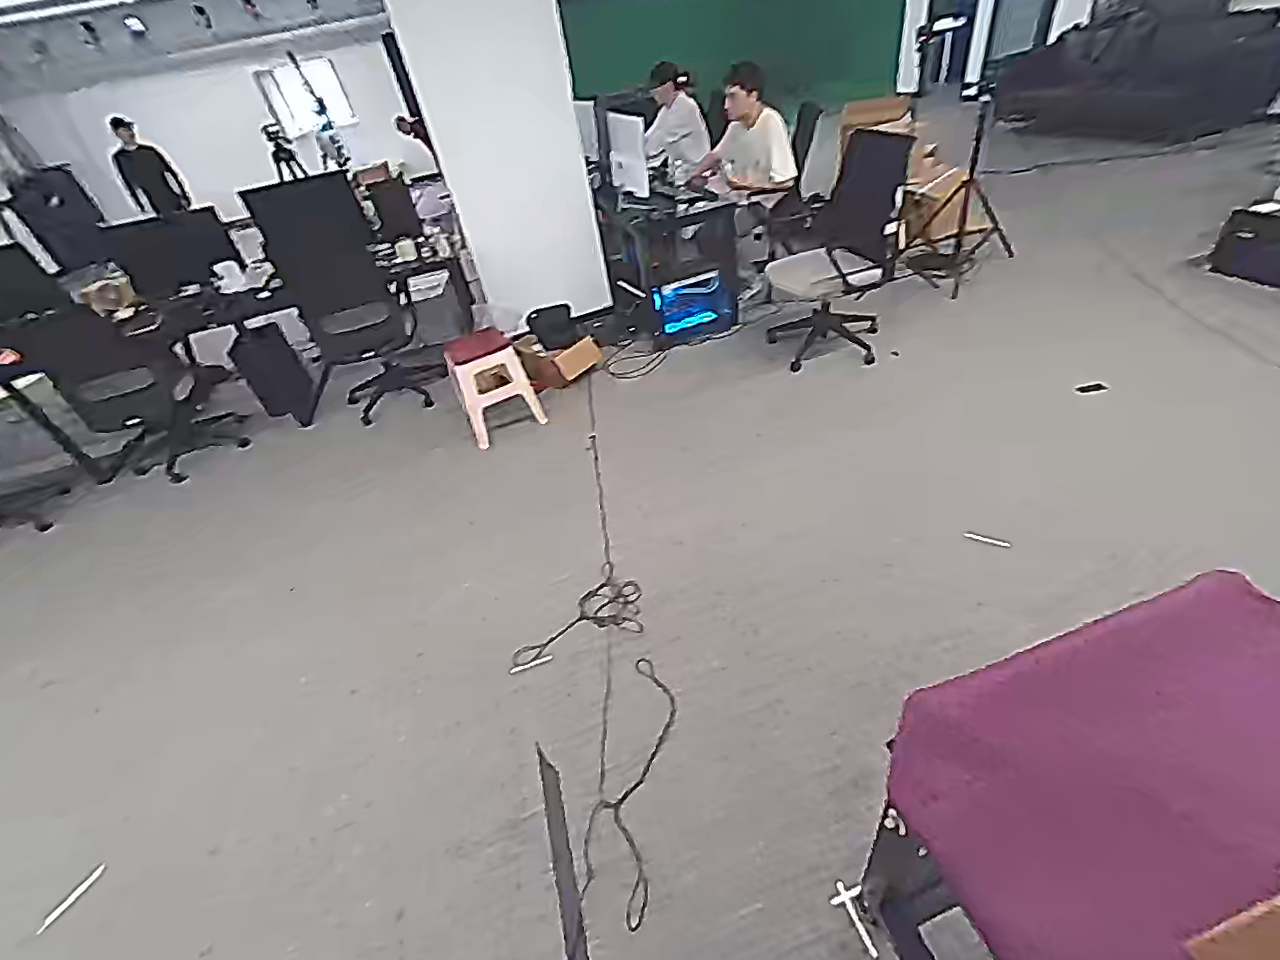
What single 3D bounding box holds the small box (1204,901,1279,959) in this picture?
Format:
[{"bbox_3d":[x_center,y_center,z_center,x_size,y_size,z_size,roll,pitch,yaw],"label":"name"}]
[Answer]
[{"bbox_3d":[0.649,0.440,0.445,0.168,0.176,0.179,-18,40,-7],"label":"small box"}]
